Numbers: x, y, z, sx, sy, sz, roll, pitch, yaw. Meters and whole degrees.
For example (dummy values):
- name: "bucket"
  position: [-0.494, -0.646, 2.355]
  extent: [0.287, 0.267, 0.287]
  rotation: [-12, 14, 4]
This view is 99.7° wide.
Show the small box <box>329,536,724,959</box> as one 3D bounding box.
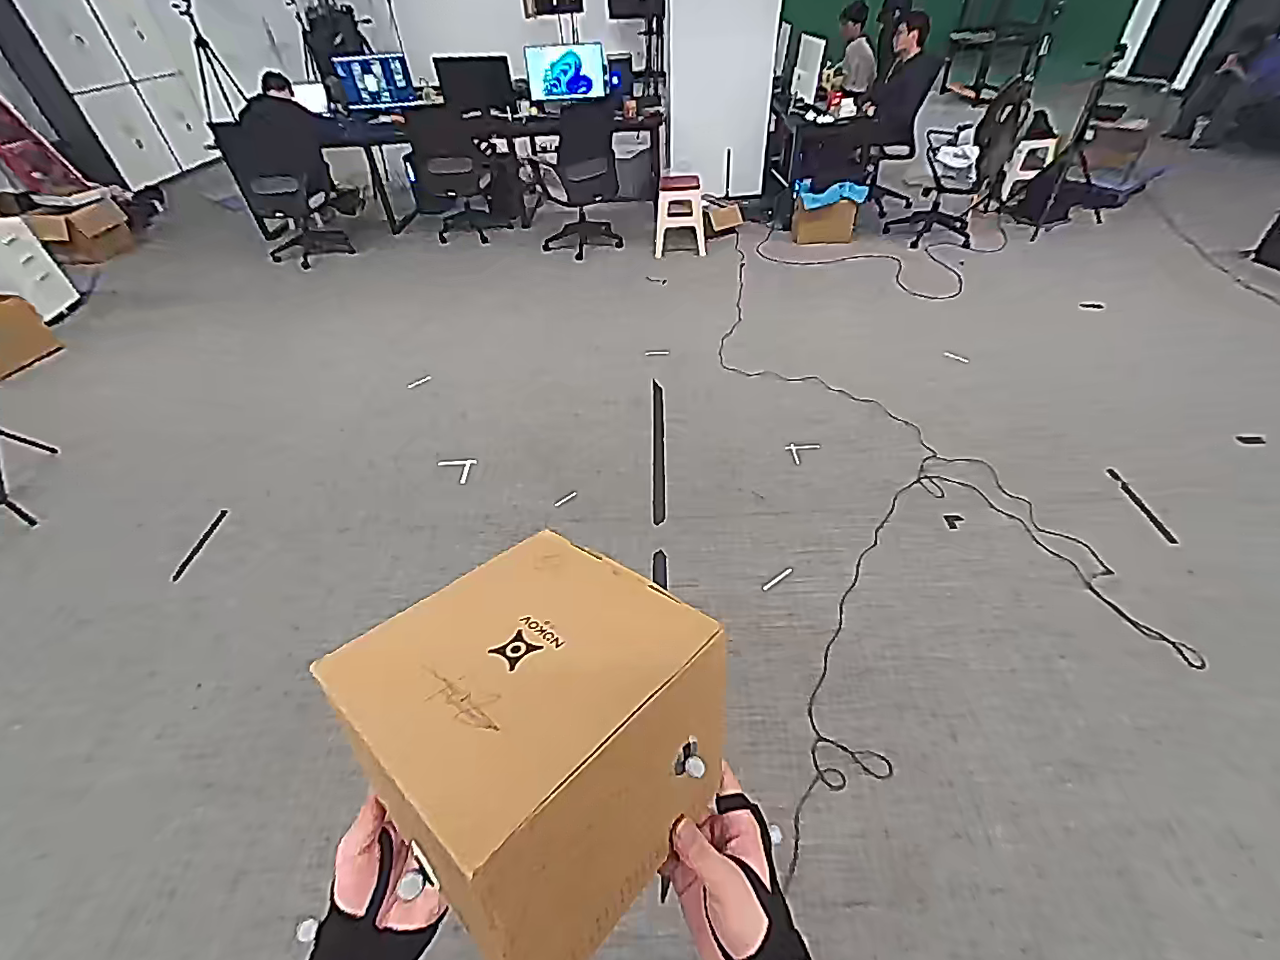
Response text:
- name: "small box"
  position: [-0.061, 0.172, 0.360]
  extent: [0.168, 0.176, 0.179]
  rotation: [21, 40, 37]
